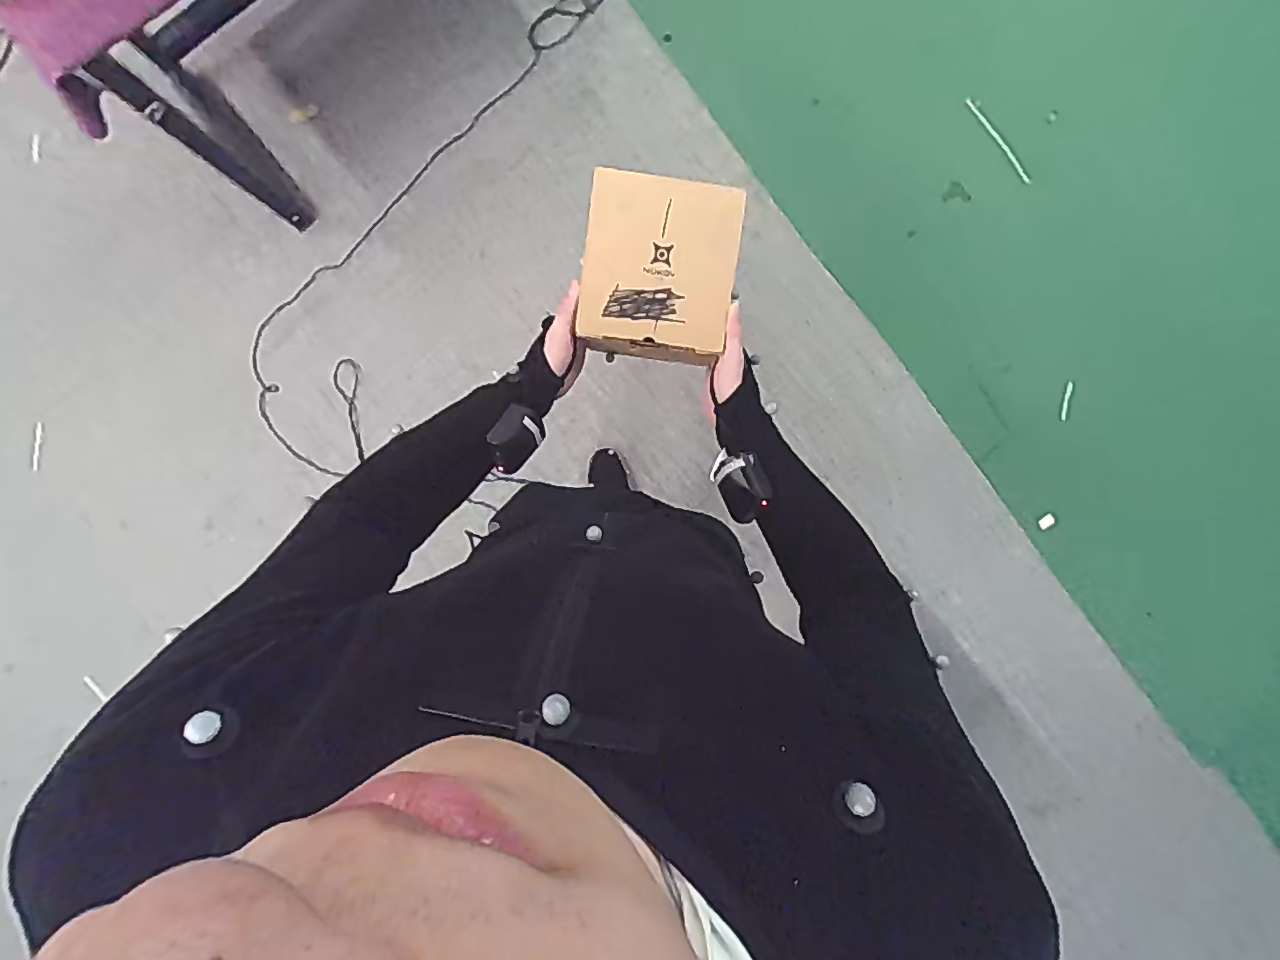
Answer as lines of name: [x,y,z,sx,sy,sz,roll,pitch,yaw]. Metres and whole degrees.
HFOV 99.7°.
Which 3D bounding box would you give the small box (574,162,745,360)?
small box: [0.019,-0.246,0.653,0.168,0.176,0.179,7,97,-2]
